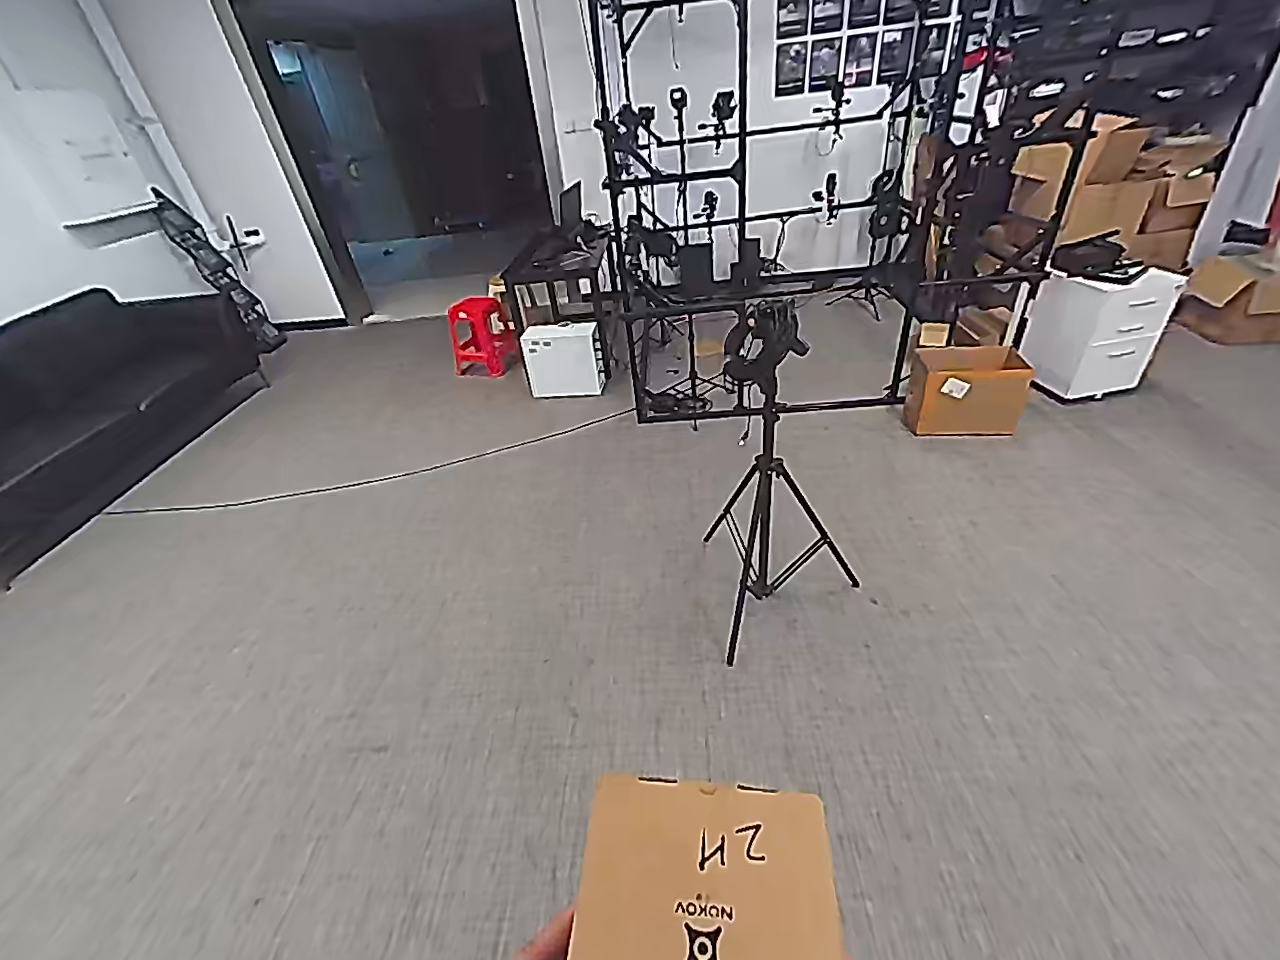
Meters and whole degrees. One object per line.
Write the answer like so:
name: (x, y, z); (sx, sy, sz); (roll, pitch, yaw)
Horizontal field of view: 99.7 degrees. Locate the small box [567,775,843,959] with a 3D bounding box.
small box: (0.044, 0.340, 0.378); (0.168, 0.176, 0.179); (2, 37, 6)
